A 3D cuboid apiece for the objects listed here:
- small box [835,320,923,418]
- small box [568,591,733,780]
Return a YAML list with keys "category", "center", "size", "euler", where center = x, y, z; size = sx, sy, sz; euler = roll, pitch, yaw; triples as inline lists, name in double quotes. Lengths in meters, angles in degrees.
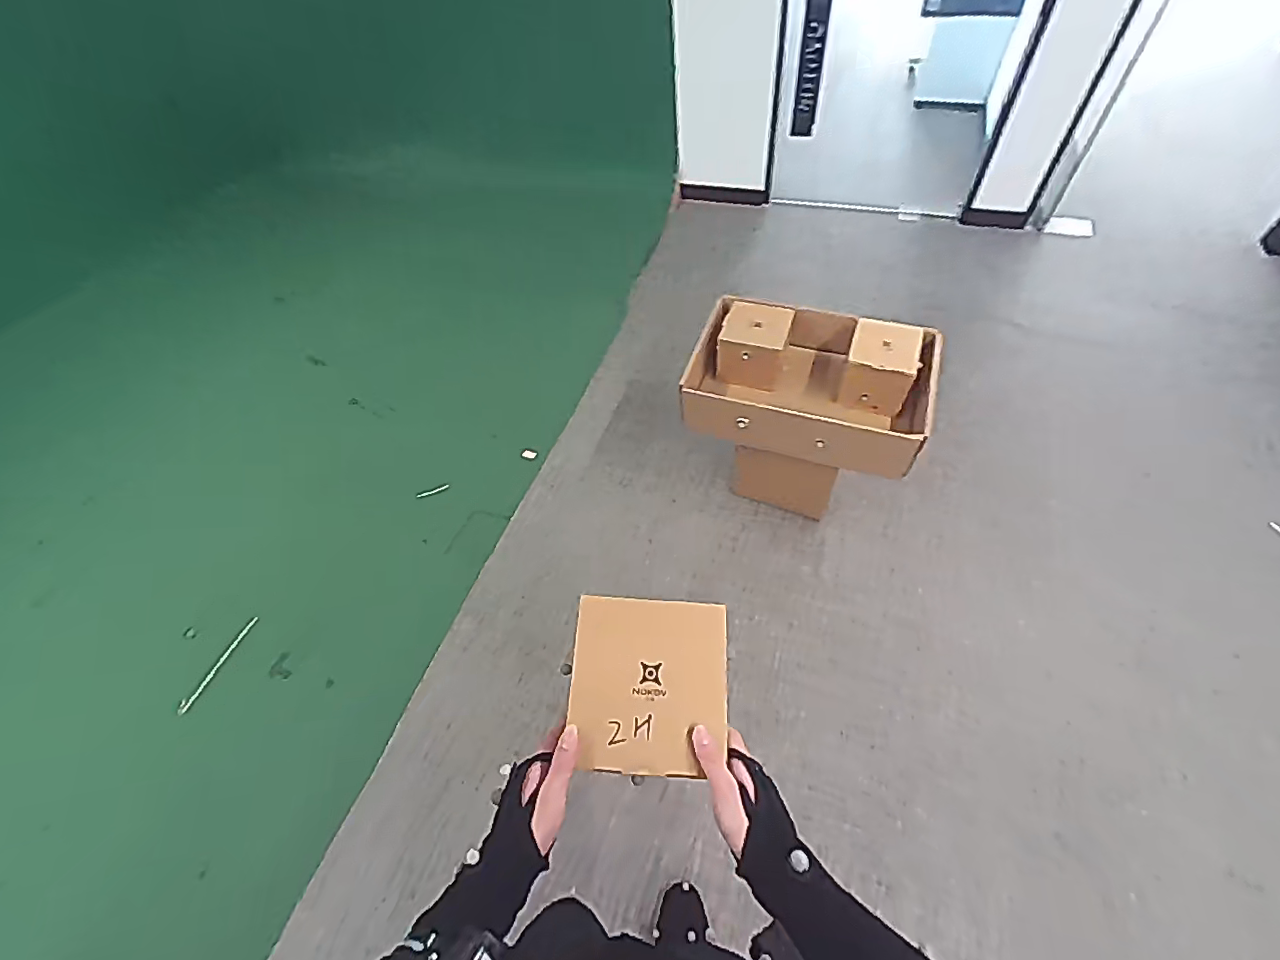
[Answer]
- category: "small box"
  center: [0.641, -0.299, 1.461]
  size: [0.168, 0.176, 0.179]
  euler: [16, 60, 16]
- category: "small box"
  center: [0.012, 0.244, 0.640]
  size: [0.168, 0.176, 0.179]
  euler: [5, 65, 0]
